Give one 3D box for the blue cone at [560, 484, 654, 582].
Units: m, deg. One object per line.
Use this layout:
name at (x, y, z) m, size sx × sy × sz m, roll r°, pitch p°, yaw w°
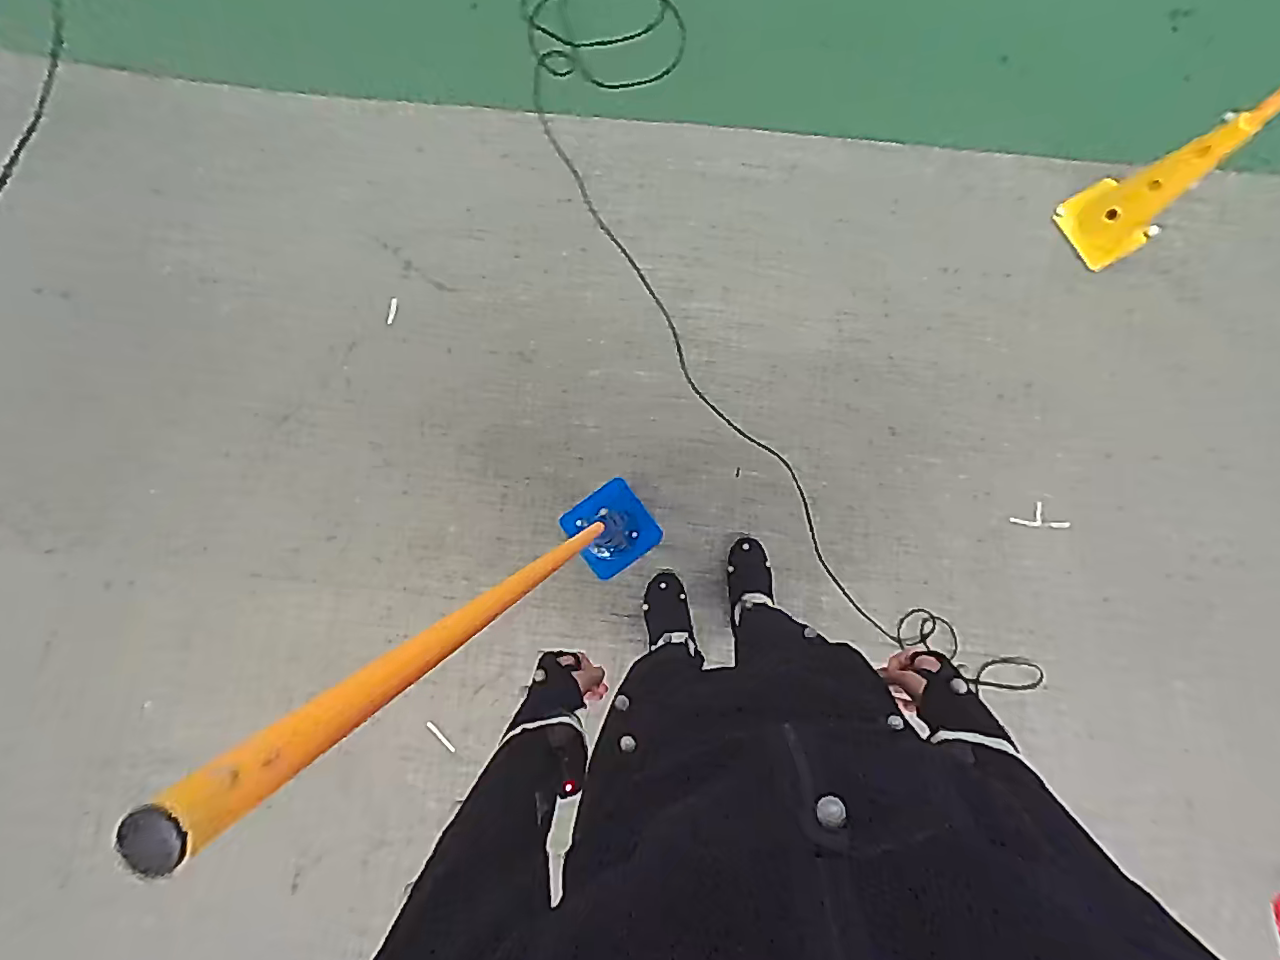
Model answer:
blue cone at (-0.085, 0.119, 1.160) m, size 0.193 × 0.380 × 0.192 m, roll -39°, pitch 86°, yaw -1°
